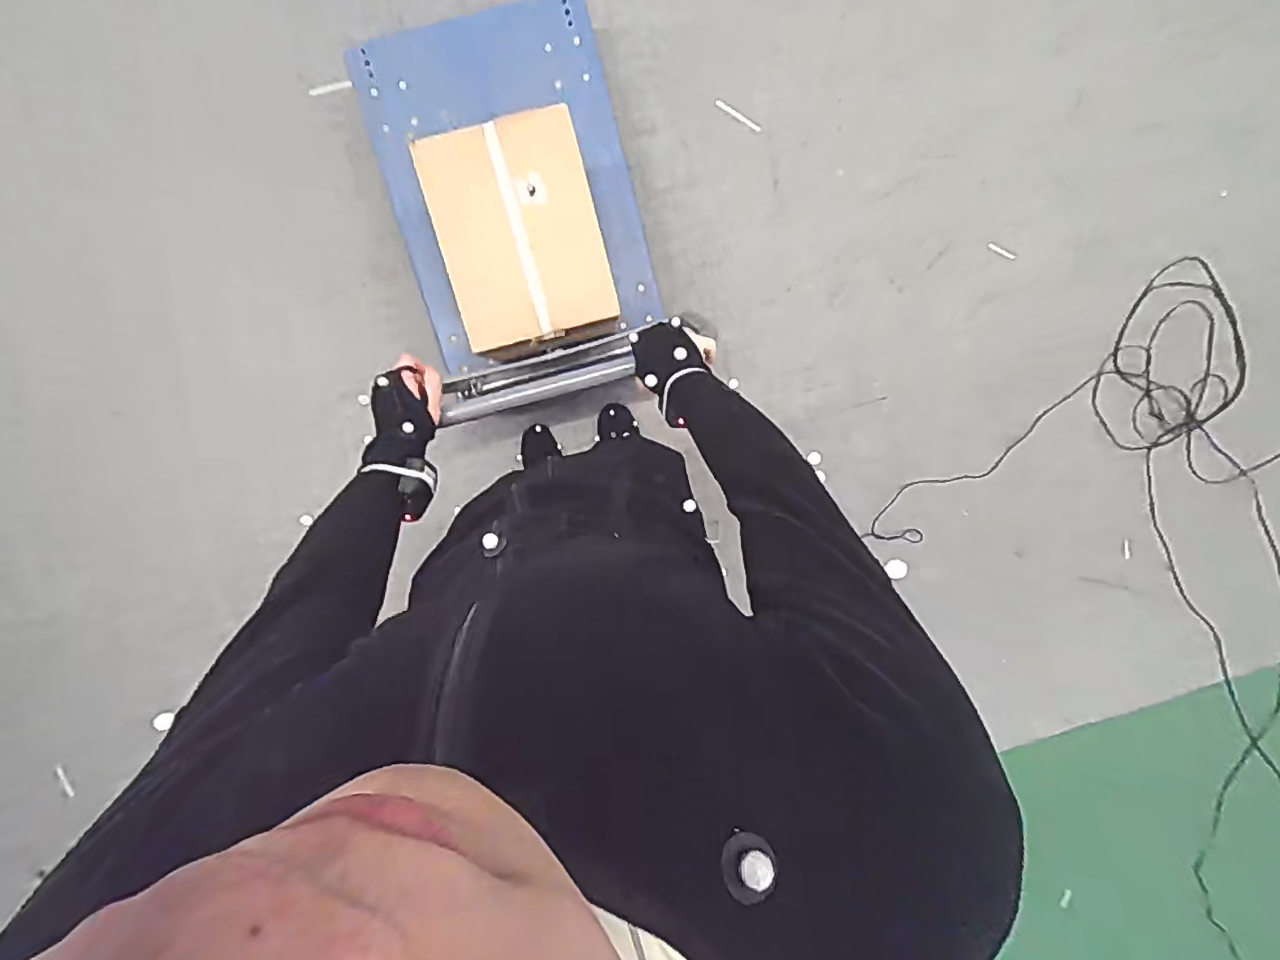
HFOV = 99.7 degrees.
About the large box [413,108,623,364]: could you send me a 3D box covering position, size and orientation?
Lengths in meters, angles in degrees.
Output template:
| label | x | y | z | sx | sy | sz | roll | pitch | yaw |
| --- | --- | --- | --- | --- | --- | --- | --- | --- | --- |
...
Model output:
| label | x | y | z | sx | sy | sz | roll | pitch | yaw |
| --- | --- | --- | --- | --- | --- | --- | --- | --- | --- |
| large box | -0.240 | -0.503 | 1.203 | 0.320 | 0.320 | 0.408 | -15 | 99 | -2 |
